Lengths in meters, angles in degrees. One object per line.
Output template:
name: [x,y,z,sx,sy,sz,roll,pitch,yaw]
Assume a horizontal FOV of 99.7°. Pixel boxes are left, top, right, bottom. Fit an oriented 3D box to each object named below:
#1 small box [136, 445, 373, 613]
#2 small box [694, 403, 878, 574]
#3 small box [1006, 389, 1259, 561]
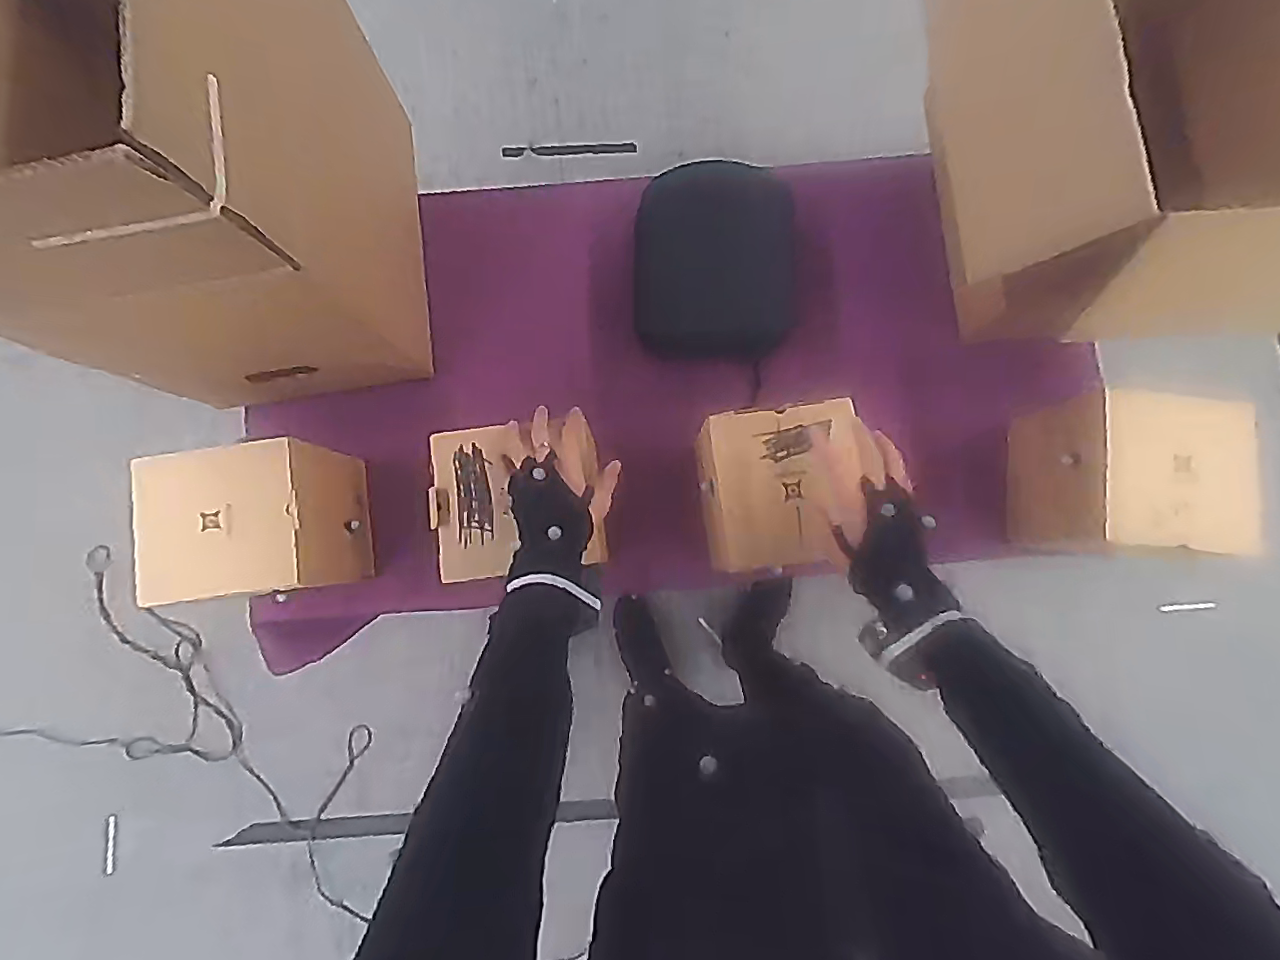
small box: [-0.461,0.064,0.668,0.179,0.176,0.168,-9,82,-2]
small box: [0.165,0.018,0.671,0.168,0.176,0.179,-8,83,0]
small box: [0.586,0.004,0.668,0.168,0.176,0.179,6,82,2]
